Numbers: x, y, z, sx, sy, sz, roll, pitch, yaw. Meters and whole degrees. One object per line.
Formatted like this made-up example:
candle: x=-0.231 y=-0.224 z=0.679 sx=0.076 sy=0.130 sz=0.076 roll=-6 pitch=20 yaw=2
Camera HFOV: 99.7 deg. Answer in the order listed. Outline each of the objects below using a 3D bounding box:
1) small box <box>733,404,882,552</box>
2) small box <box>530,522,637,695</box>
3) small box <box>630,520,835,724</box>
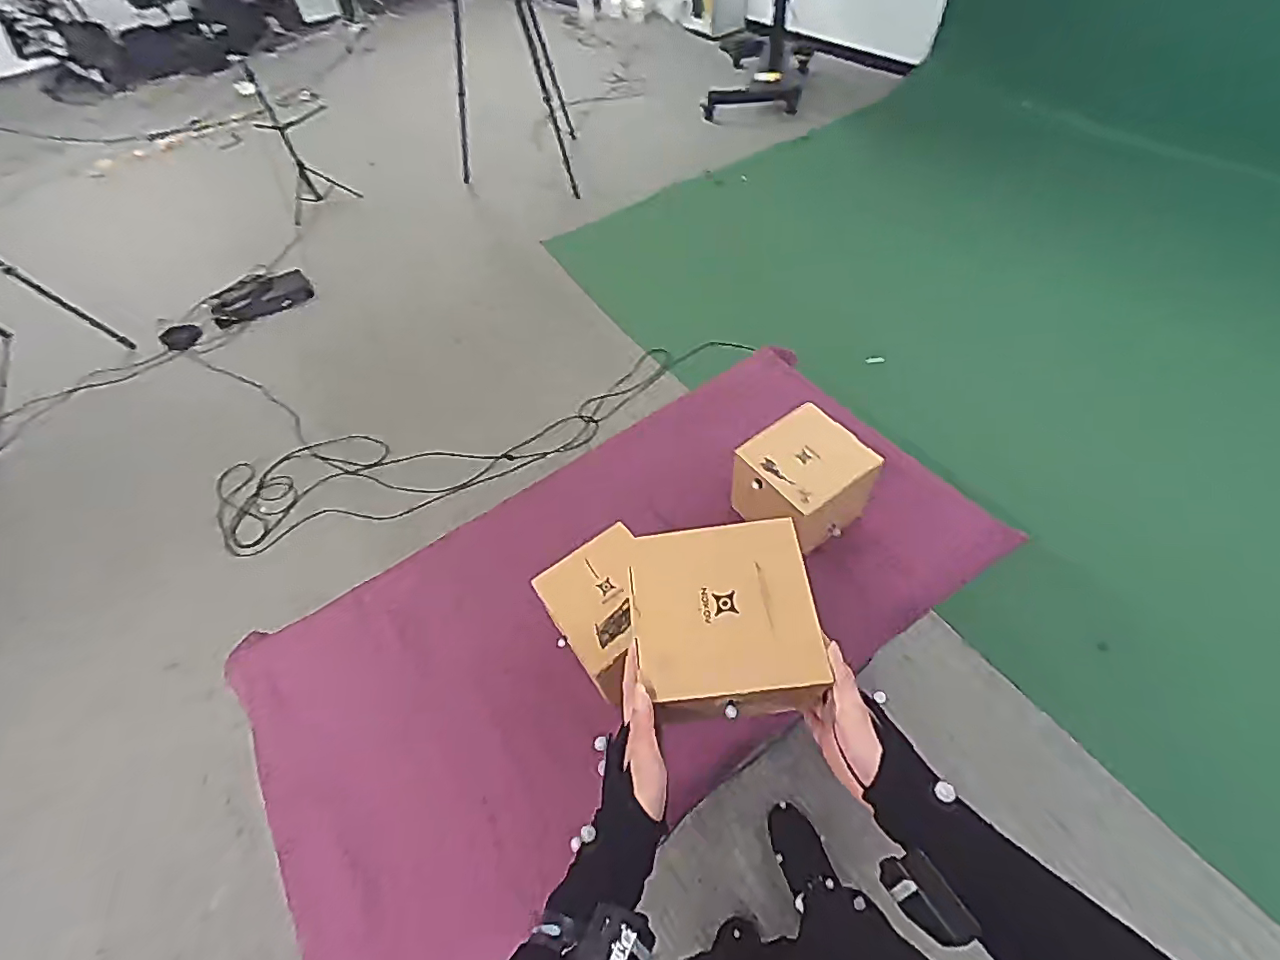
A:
small box: x=0.278 y=0.007 z=0.943 sx=0.179 sy=0.176 sz=0.168 roll=-31 pitch=57 yaw=-16
small box: x=-0.040 y=0.205 z=0.831 sx=0.168 sy=0.176 sz=0.179 roll=-32 pitch=57 yaw=-17
small box: x=0.090 y=0.160 z=0.582 sx=0.179 sy=0.176 sz=0.168 roll=-7 pitch=59 yaw=3
